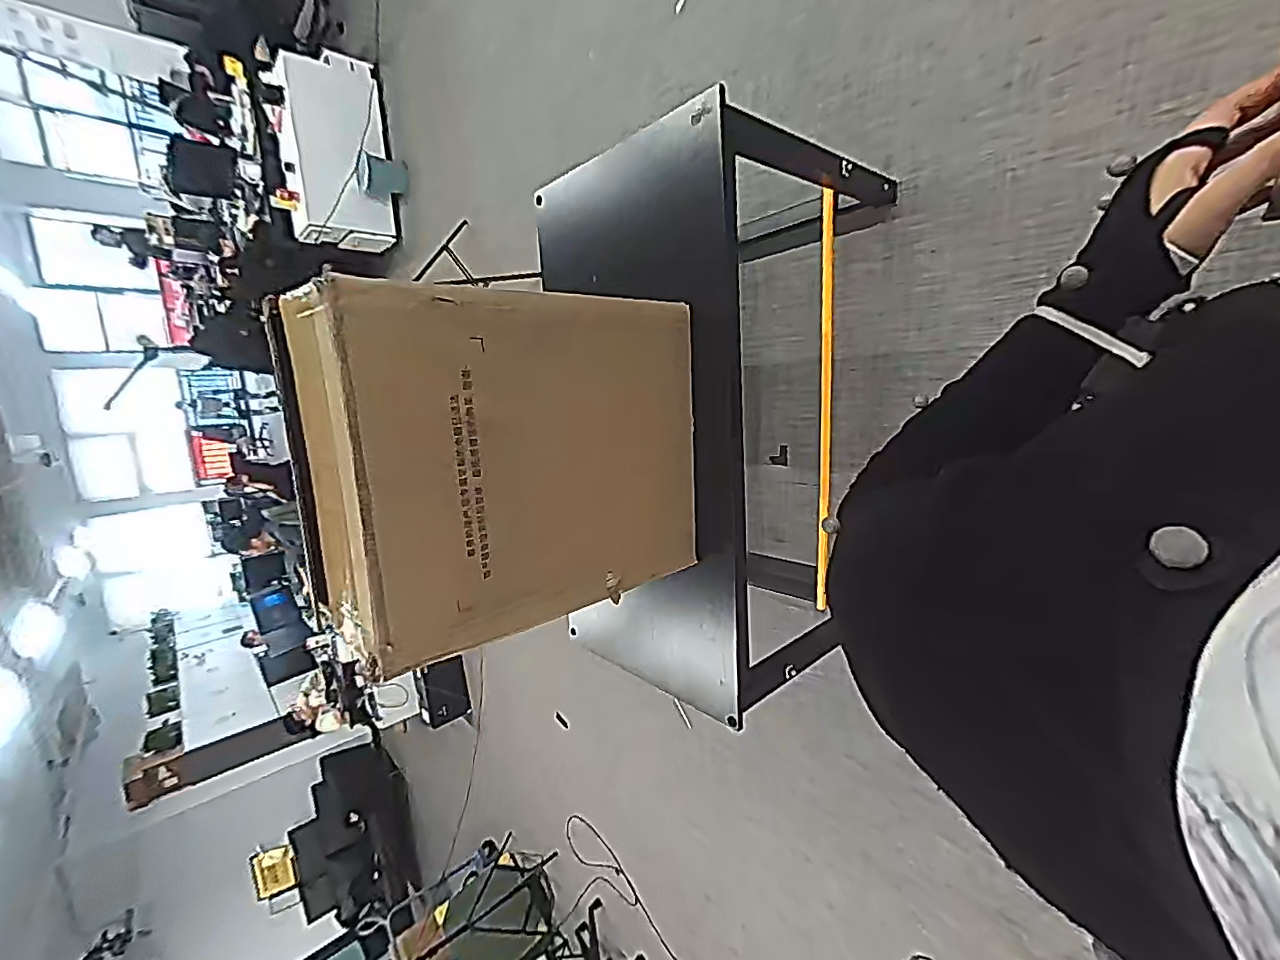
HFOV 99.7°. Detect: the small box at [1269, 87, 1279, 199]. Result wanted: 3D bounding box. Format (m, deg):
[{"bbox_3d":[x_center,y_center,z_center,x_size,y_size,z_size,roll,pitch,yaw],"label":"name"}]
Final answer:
[{"bbox_3d":[0.486,-0.269,0.300,0.168,0.176,0.179,7,106,46],"label":"small box"}]
